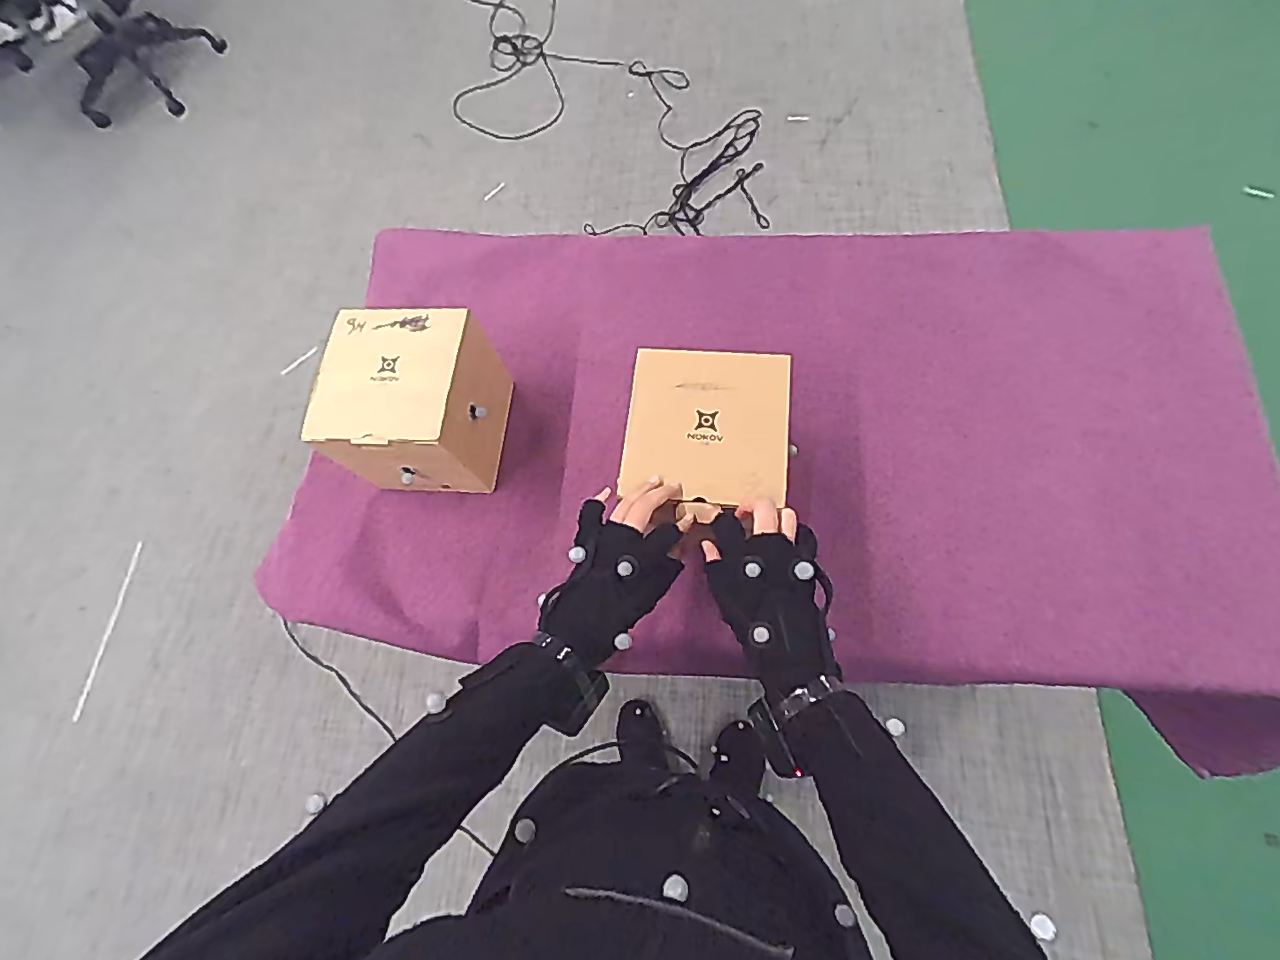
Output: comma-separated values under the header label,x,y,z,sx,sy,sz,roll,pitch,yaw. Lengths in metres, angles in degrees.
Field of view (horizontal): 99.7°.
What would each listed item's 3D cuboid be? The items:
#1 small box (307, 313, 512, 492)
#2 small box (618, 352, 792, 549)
label,x,y,z,sx,sy,sz,roll,pitch,yaw
small box,-0.275,-0.090,0.692,0.168,0.176,0.179,2,70,7
small box,0.078,-0.025,0.627,0.168,0.176,0.179,5,70,8
